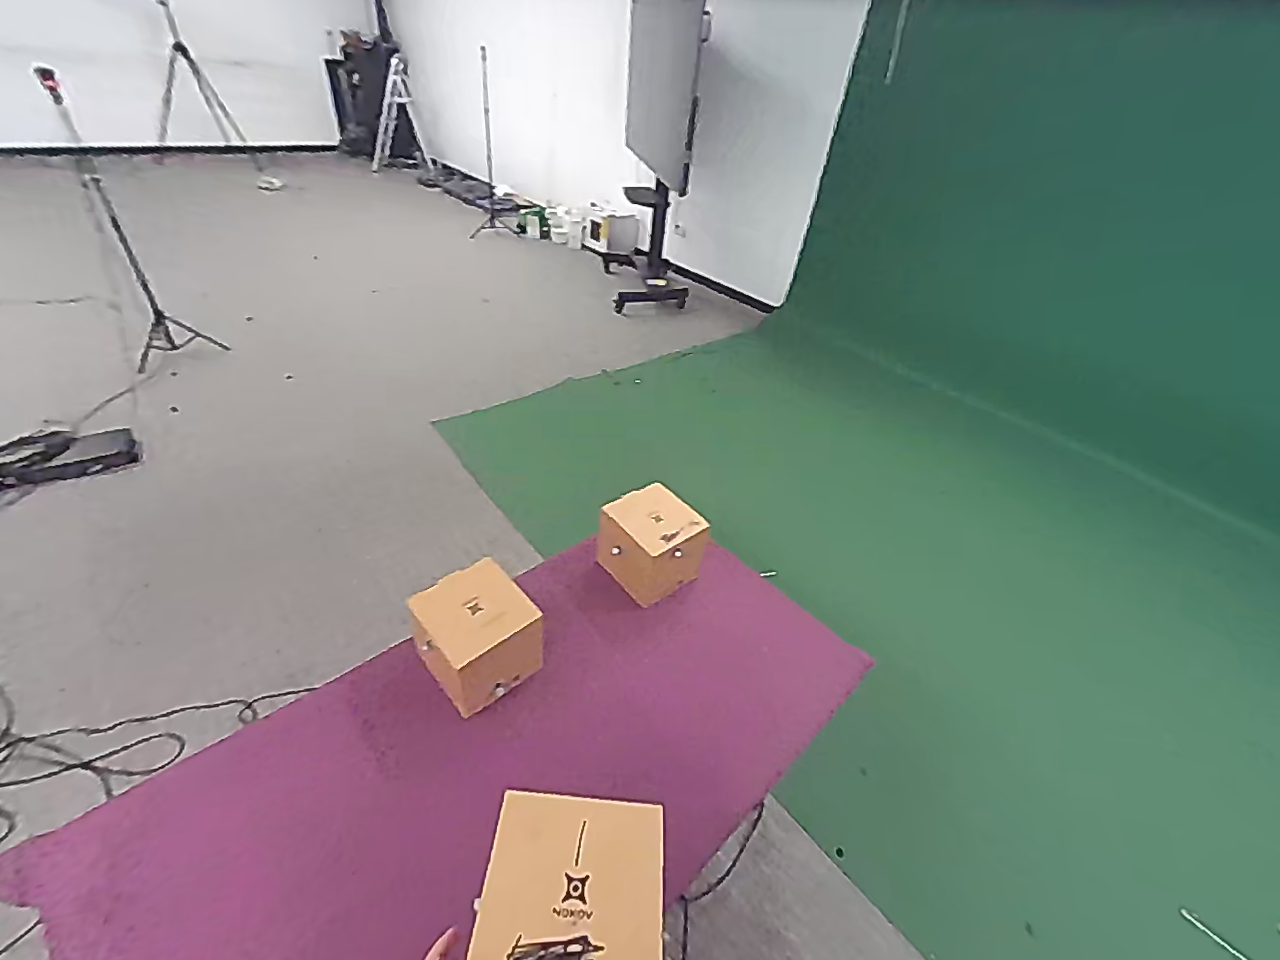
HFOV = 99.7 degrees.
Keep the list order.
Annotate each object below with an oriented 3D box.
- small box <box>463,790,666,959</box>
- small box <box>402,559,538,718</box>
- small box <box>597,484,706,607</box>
[{"bbox_3d":[-0.068,0.437,0.526,0.168,0.176,0.179,7,37,-1],"label":"small box"},{"bbox_3d":[-0.299,0.281,0.965,0.168,0.176,0.179,-28,50,-35],"label":"small box"},{"bbox_3d":[0.017,0.143,1.190,0.168,0.176,0.179,-25,48,-33],"label":"small box"}]
